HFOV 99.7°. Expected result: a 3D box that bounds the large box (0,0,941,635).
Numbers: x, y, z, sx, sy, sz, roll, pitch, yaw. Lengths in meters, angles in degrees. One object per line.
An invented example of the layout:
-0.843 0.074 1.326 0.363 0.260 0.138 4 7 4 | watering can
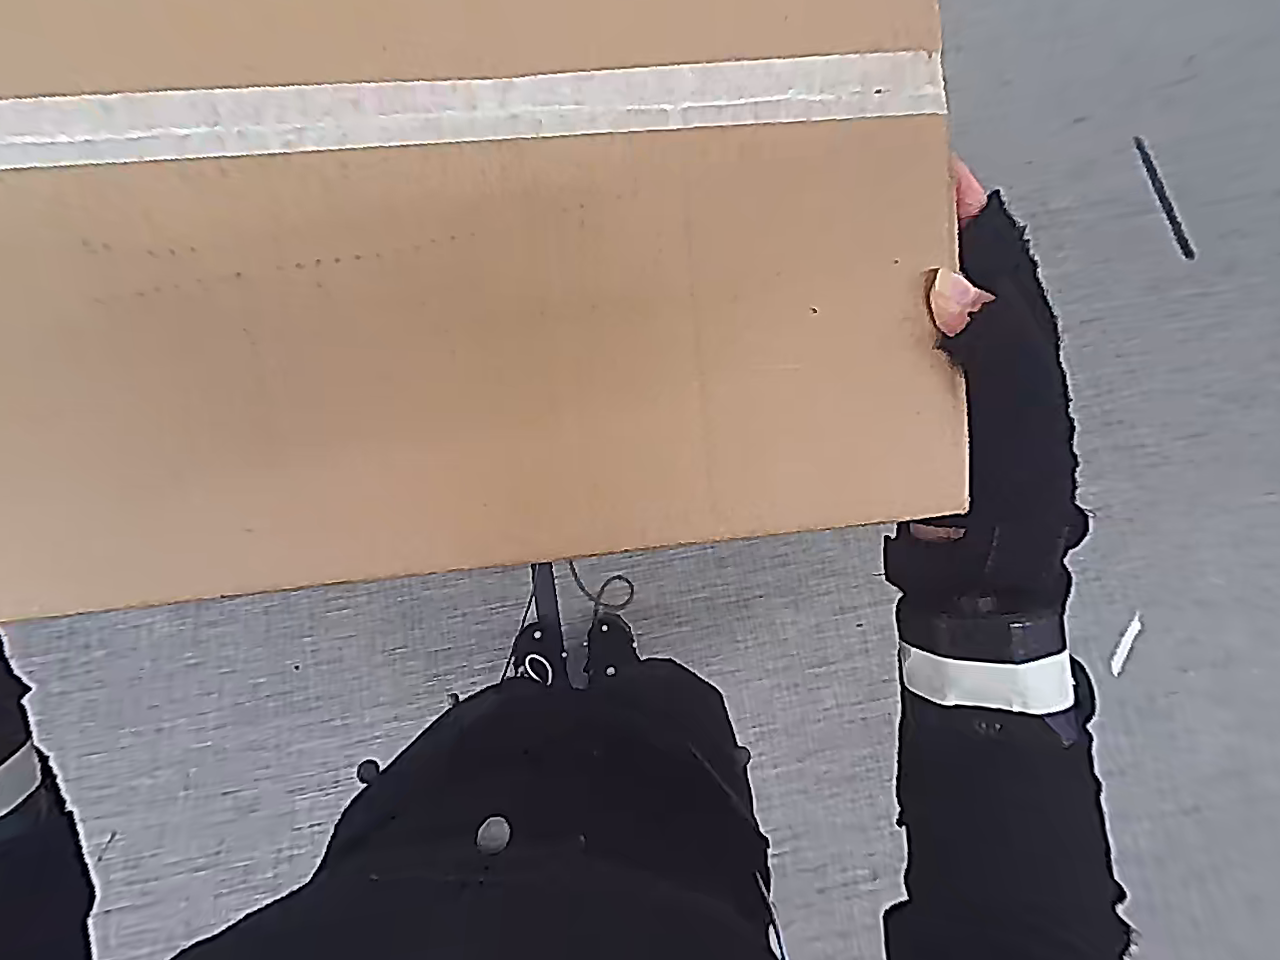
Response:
-0.098 -0.122 0.354 0.408 0.320 0.320 -6 94 -4 | large box
